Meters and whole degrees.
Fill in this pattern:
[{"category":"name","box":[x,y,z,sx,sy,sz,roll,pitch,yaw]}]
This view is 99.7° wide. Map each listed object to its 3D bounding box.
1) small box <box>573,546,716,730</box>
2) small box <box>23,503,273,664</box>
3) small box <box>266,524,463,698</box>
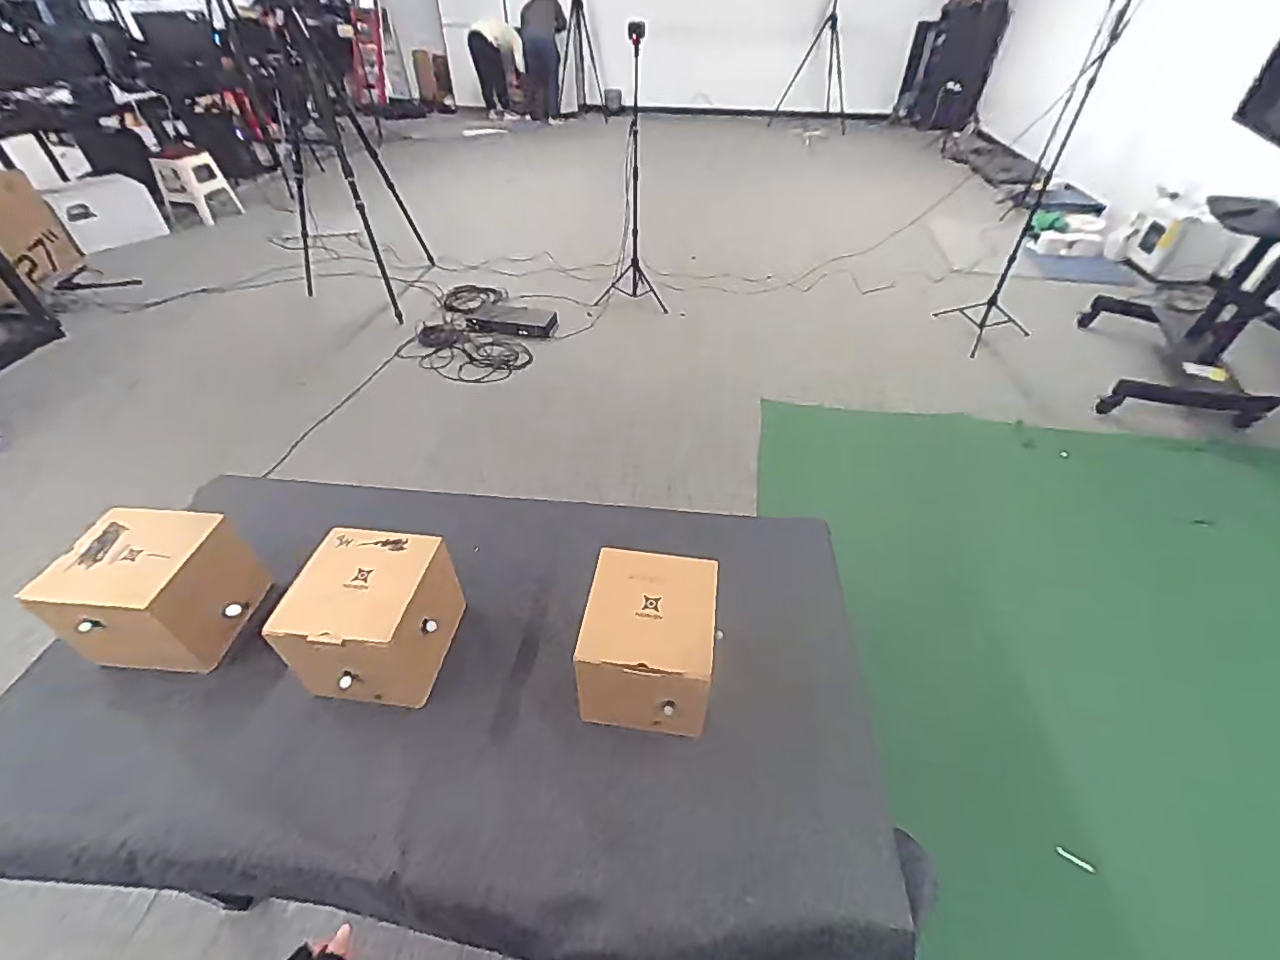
[{"category":"small box","box":[0.011,0.219,0.747,0.168,0.176,0.179,7,42,4]},{"category":"small box","box":[-0.699,0.153,0.796,0.179,0.176,0.168,4,43,1]},{"category":"small box","box":[-0.370,0.188,0.770,0.168,0.176,0.179,5,44,4]}]
